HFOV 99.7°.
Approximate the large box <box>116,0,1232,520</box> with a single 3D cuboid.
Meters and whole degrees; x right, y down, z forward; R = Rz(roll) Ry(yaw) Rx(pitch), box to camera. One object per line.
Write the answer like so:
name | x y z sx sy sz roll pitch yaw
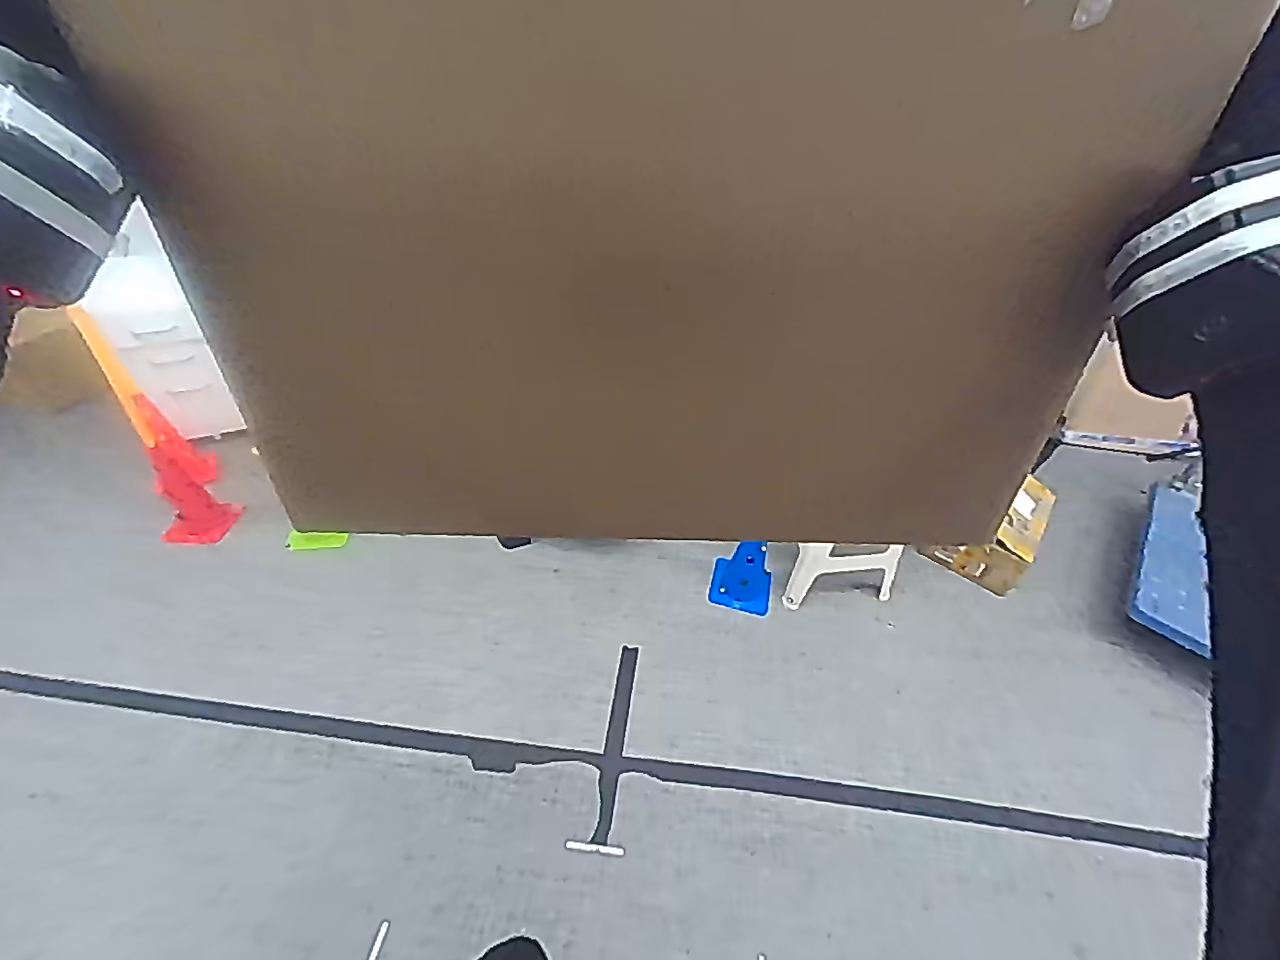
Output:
large box | 0.008 -0.186 0.355 0.408 0.320 0.320 2 35 -1
